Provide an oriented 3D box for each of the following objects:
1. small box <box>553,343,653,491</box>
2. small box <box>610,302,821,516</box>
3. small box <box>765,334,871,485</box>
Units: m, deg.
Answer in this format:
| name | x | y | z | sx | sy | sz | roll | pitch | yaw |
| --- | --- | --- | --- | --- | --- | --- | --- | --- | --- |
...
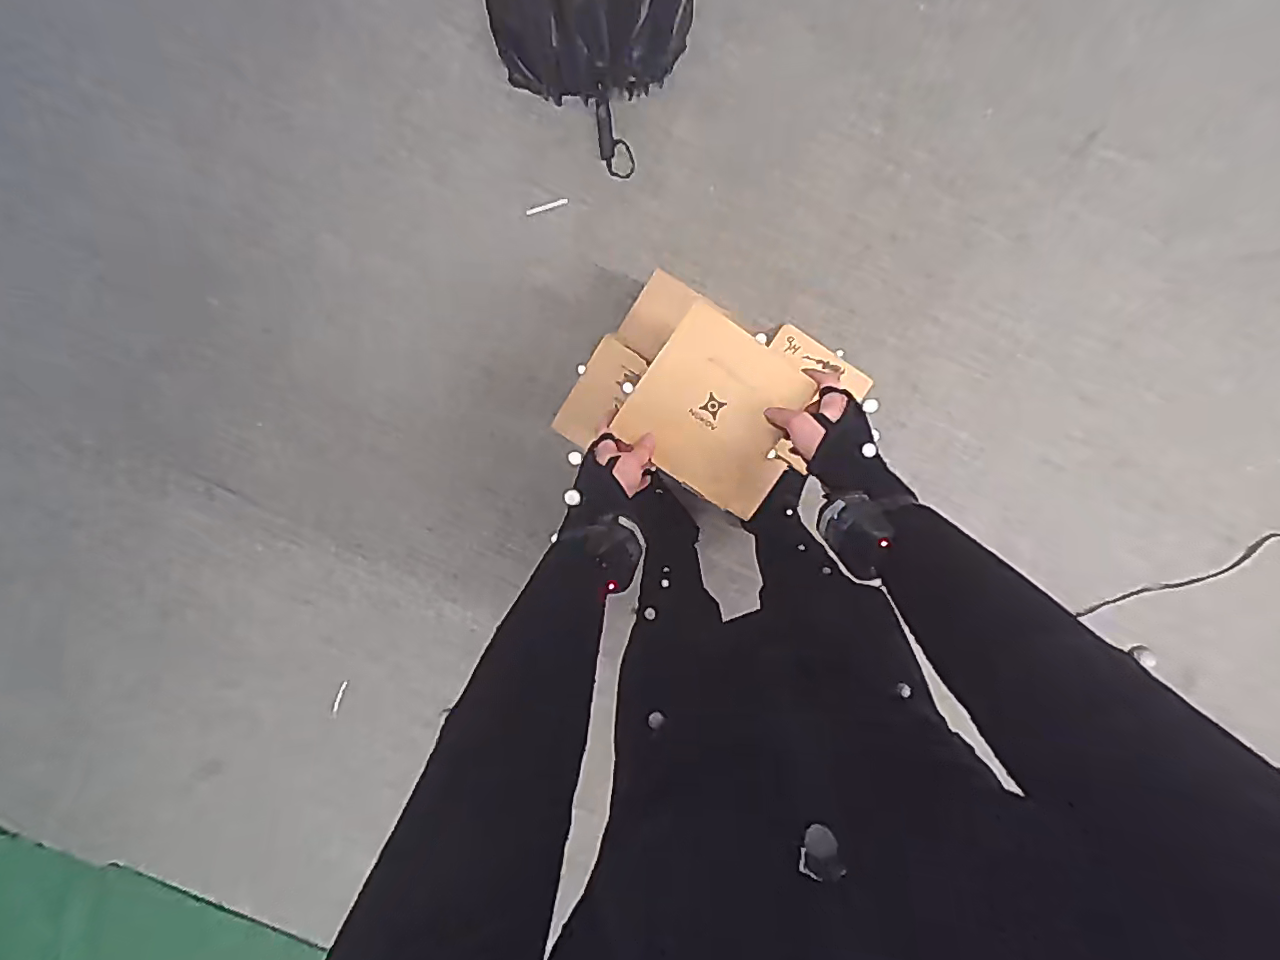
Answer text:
| name | x | y | z | sx | sy | sz | roll | pitch | yaw |
| --- | --- | --- | --- | --- | --- | --- | --- | --- | --- |
| small box | -0.021 | -0.112 | 0.915 | 0.168 | 0.176 | 0.179 | 34 | 103 | -3 |
| small box | 0.086 | -0.088 | 0.662 | 0.168 | 0.176 | 0.179 | 35 | 101 | -4 |
| small box | 0.242 | -0.117 | 0.902 | 0.168 | 0.176 | 0.179 | 33 | 99 | -2 |
